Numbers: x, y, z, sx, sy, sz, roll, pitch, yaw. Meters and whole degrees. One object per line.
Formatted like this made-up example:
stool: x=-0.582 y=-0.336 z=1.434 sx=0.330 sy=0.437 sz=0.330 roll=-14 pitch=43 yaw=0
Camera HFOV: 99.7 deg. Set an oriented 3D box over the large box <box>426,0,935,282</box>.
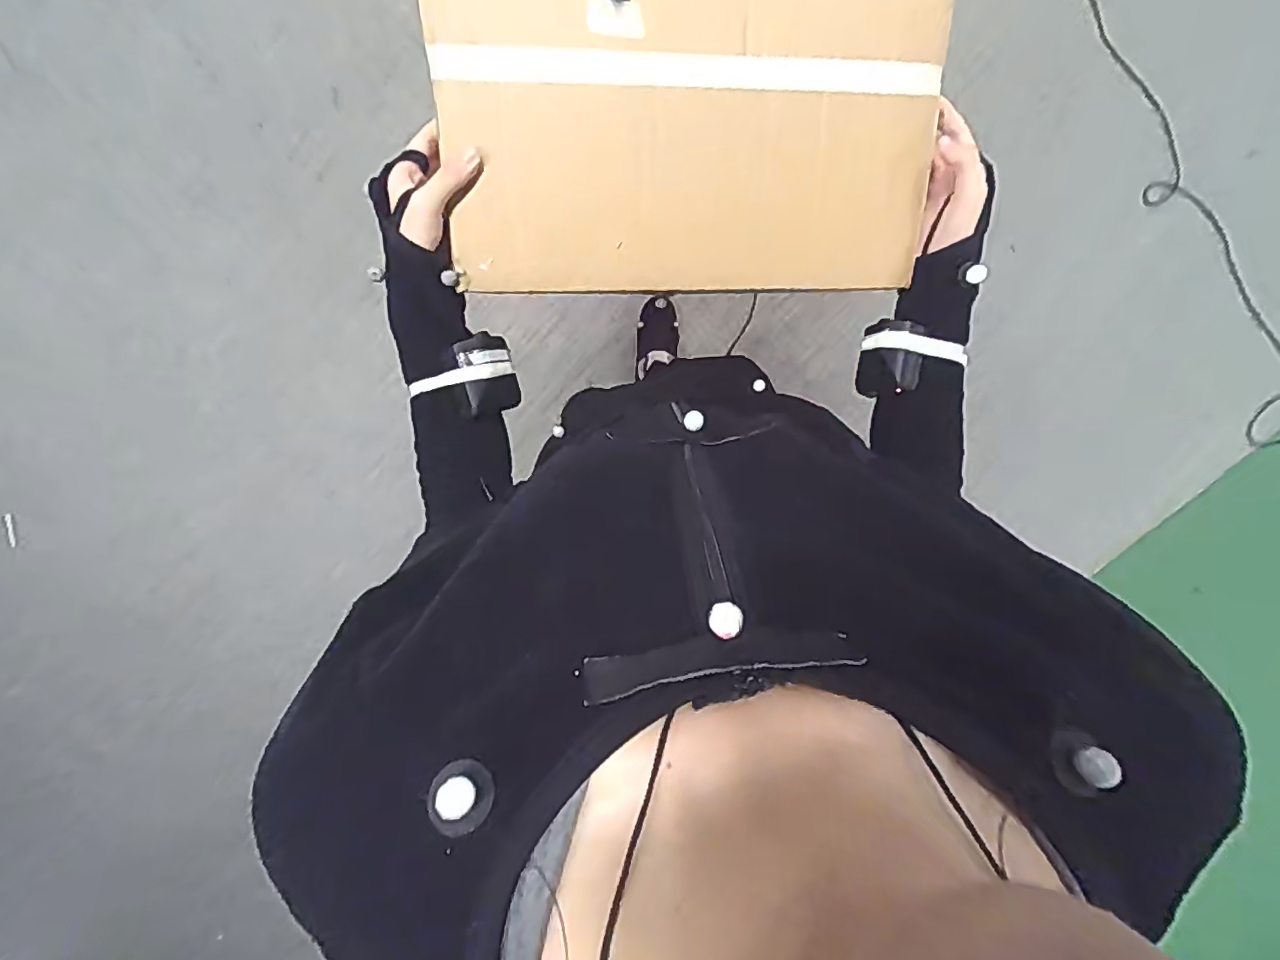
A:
large box: x=0.024 y=-0.381 z=0.568 sx=0.408 sy=0.320 sz=0.320 roll=-3 pitch=110 yaw=-6
